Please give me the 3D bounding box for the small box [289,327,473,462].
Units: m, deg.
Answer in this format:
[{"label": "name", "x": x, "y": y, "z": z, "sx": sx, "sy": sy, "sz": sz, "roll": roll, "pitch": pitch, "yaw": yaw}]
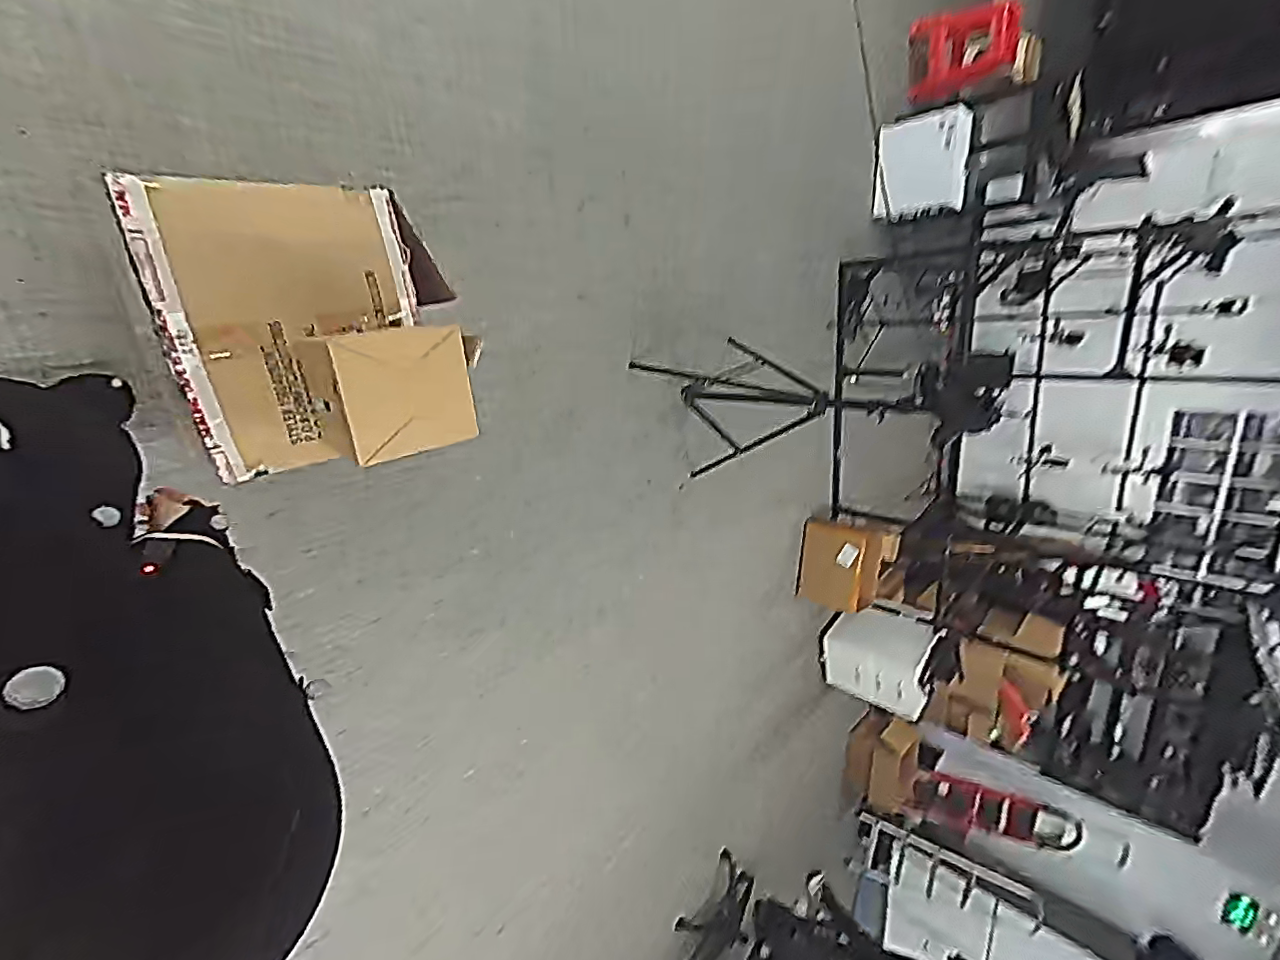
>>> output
[{"label": "small box", "x": -0.375, "y": -0.132, "z": 0.792, "sx": 0.179, "sy": 0.176, "sz": 0.168, "roll": -22, "pitch": 117, "yaw": -40}]
